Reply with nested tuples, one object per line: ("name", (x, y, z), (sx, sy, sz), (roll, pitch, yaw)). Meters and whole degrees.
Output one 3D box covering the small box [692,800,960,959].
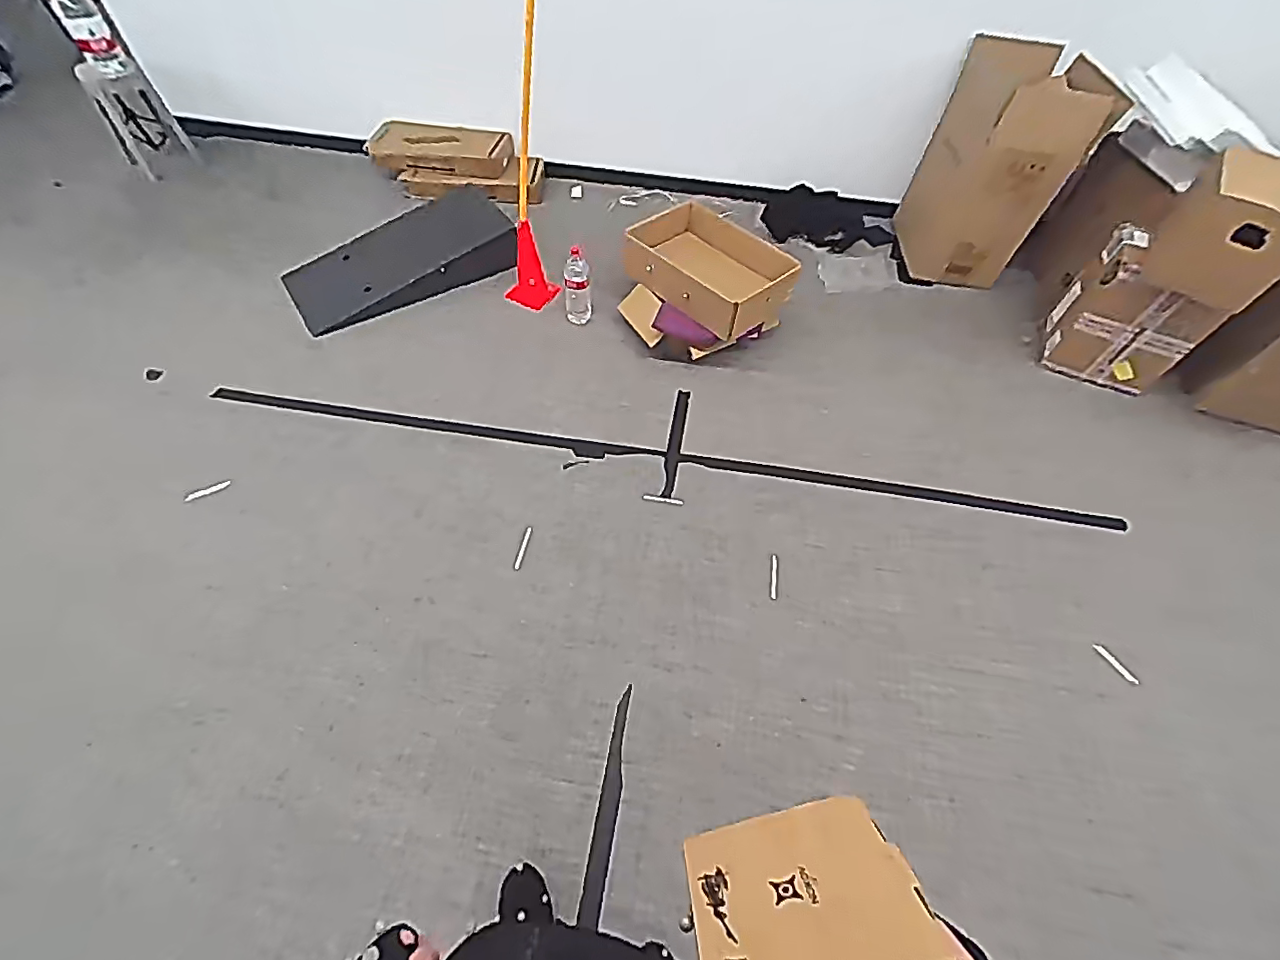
("small box", (0.153, 0.419, 0.456), (0.179, 0.168, 0.176), (-14, 95, 0))
